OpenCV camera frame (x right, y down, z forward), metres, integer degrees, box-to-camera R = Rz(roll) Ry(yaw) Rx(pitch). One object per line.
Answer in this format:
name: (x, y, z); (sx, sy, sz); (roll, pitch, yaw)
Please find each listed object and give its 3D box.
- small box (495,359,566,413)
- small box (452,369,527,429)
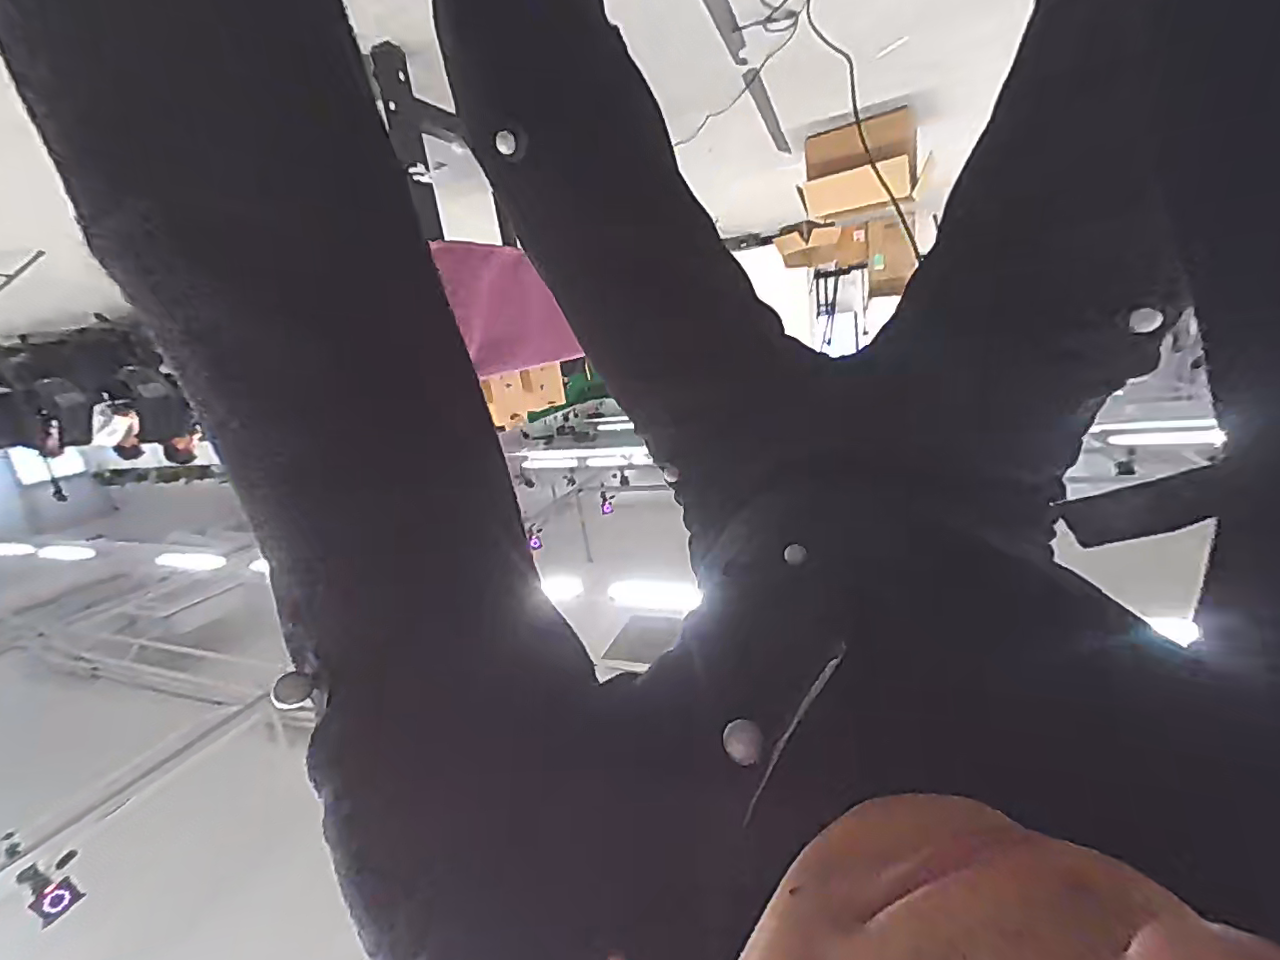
small box: (-0.398, -0.341, 1.959); (0.179, 0.176, 0.168); (2, -162, 31)
small box: (-0.492, -0.263, 1.744); (0.179, 0.176, 0.168); (-2, -162, 22)
